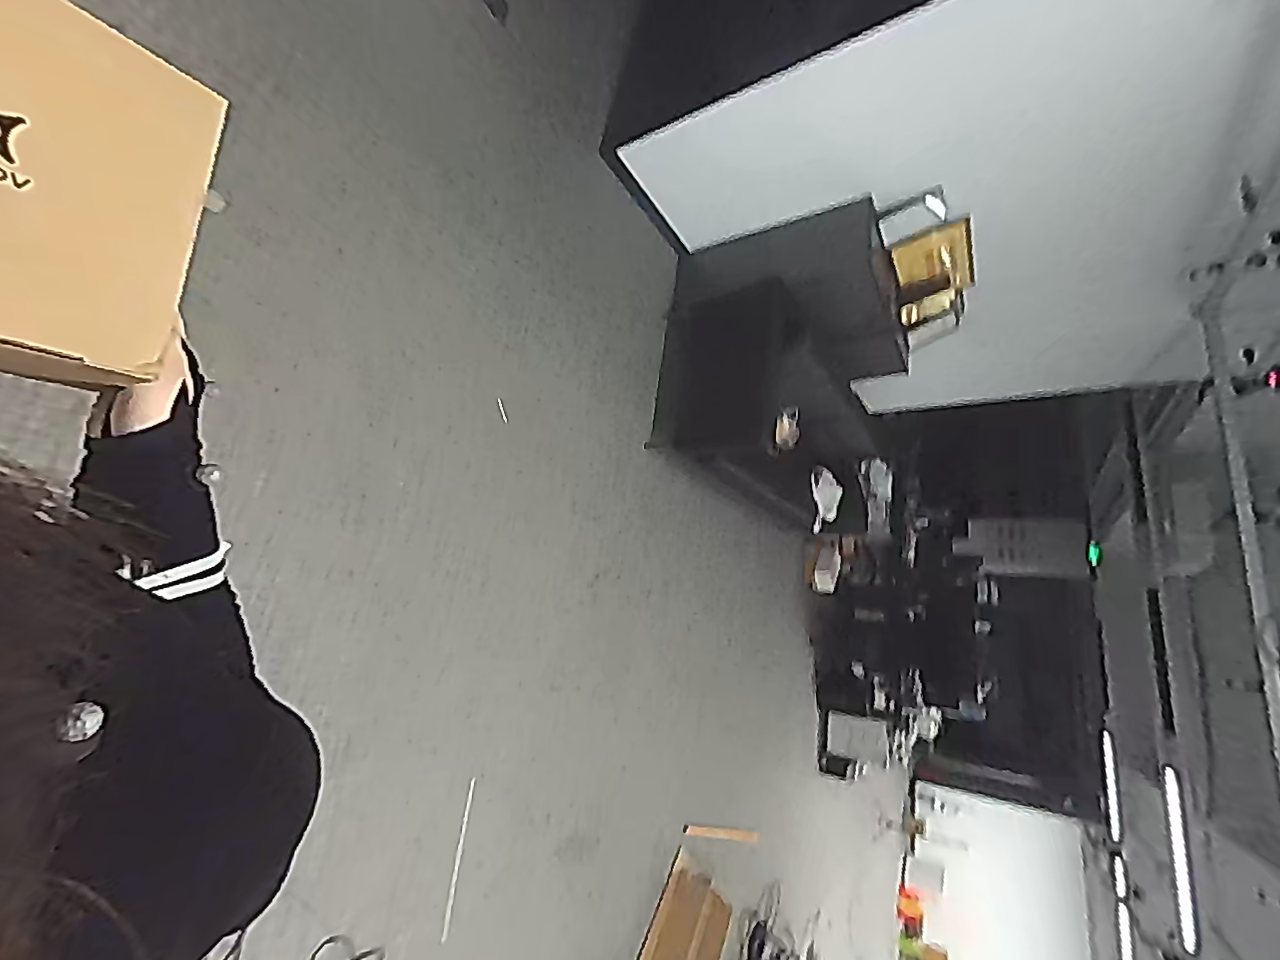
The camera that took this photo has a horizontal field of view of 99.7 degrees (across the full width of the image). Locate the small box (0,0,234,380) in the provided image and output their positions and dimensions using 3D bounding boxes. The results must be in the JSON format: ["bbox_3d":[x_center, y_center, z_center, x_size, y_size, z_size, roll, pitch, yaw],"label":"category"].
[{"bbox_3d":[-0.361,-0.163,0.292,0.168,0.176,0.179,15,82,-53],"label":"small box"}]
